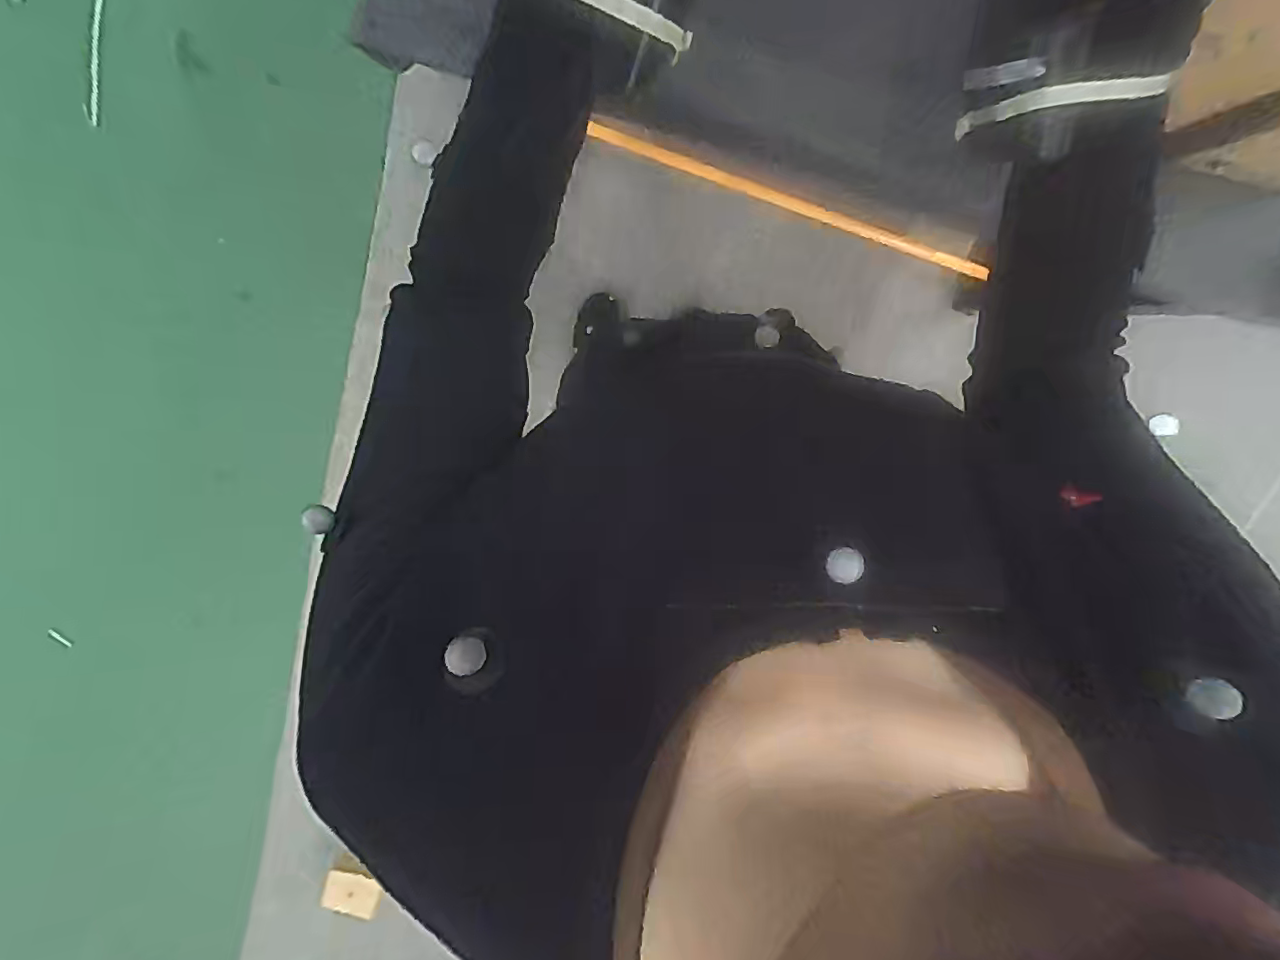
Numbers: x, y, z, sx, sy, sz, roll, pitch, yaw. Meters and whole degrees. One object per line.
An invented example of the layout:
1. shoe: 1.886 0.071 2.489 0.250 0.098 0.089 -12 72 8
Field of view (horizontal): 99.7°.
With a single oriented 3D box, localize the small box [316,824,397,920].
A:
1. small box: -0.939 1.303 1.803 0.168 0.176 0.179 20 104 -5
